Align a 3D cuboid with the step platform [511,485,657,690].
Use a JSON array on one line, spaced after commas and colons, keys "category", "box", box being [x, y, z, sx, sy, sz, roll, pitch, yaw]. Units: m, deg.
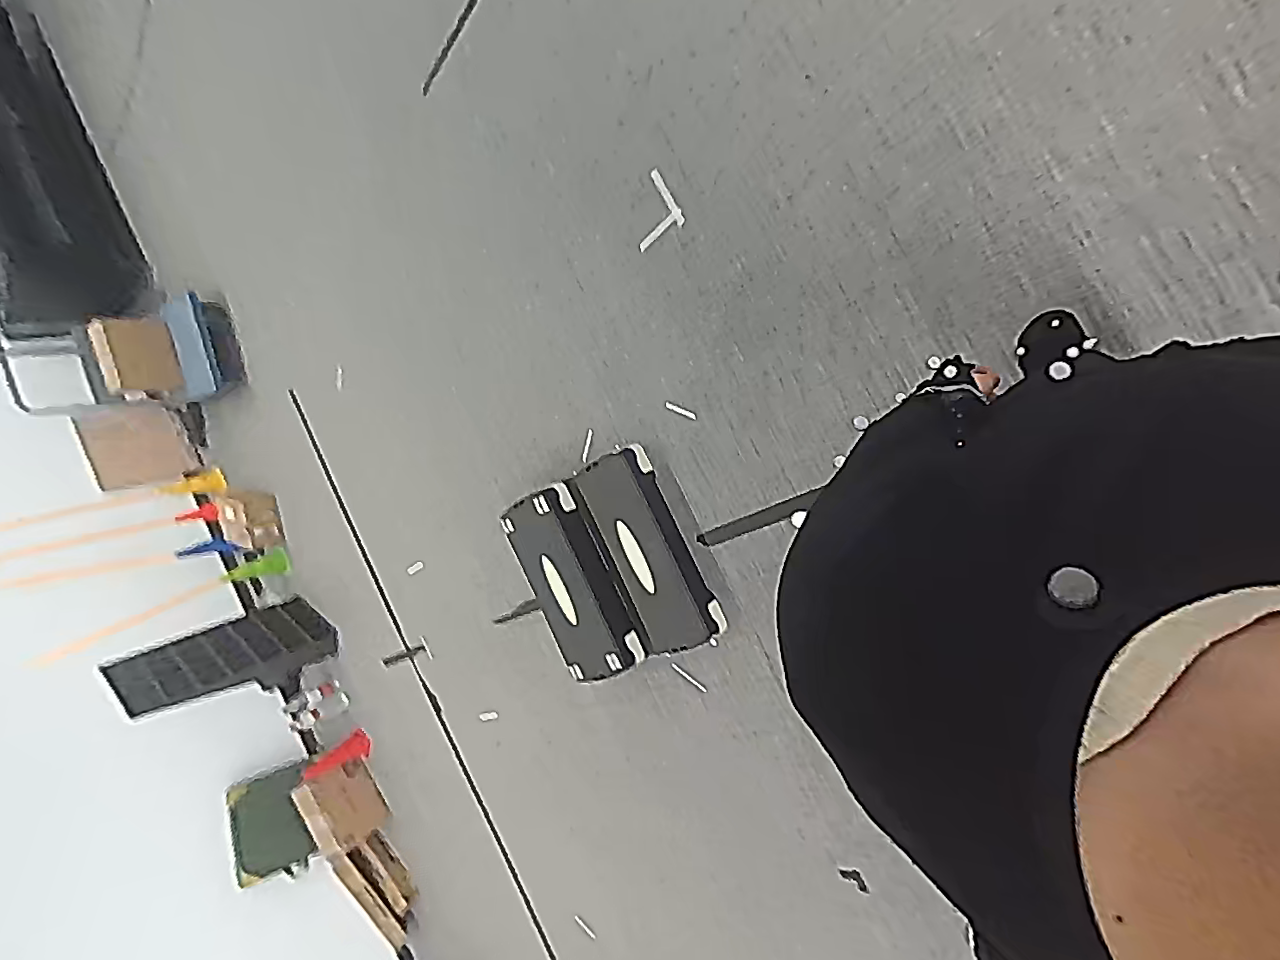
[{"category": "step platform", "box": [-0.201, 0.373, 1.873, 0.286, 0.204, 0.684, -22, 87, 38]}]
